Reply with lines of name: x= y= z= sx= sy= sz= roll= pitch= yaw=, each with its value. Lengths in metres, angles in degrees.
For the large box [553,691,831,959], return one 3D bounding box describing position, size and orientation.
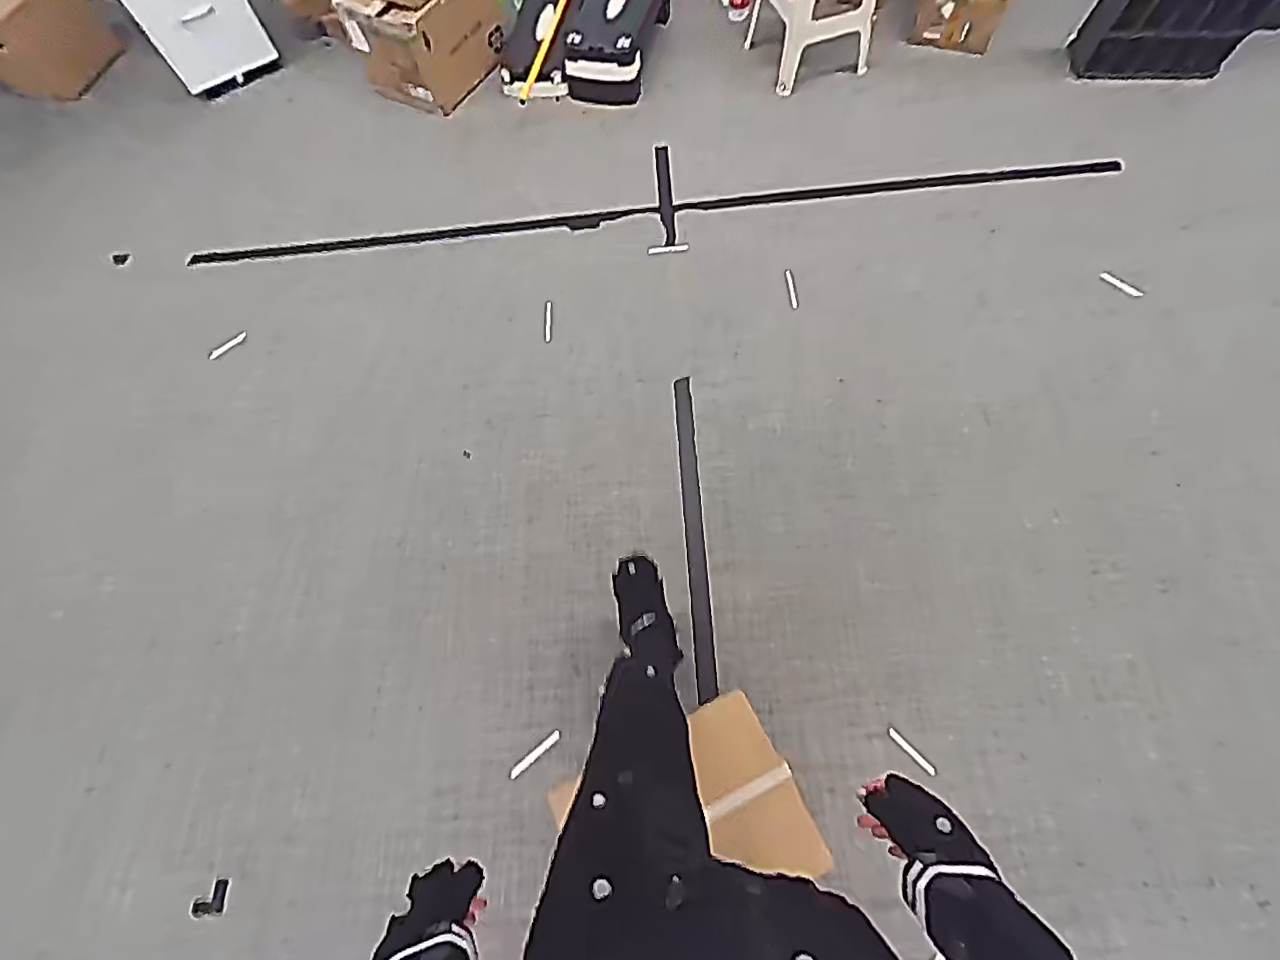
large box: x=0.094 y=0.664 z=1.082 sx=0.408 sy=0.320 sz=0.320 roll=-27 pitch=68 yaw=-7
